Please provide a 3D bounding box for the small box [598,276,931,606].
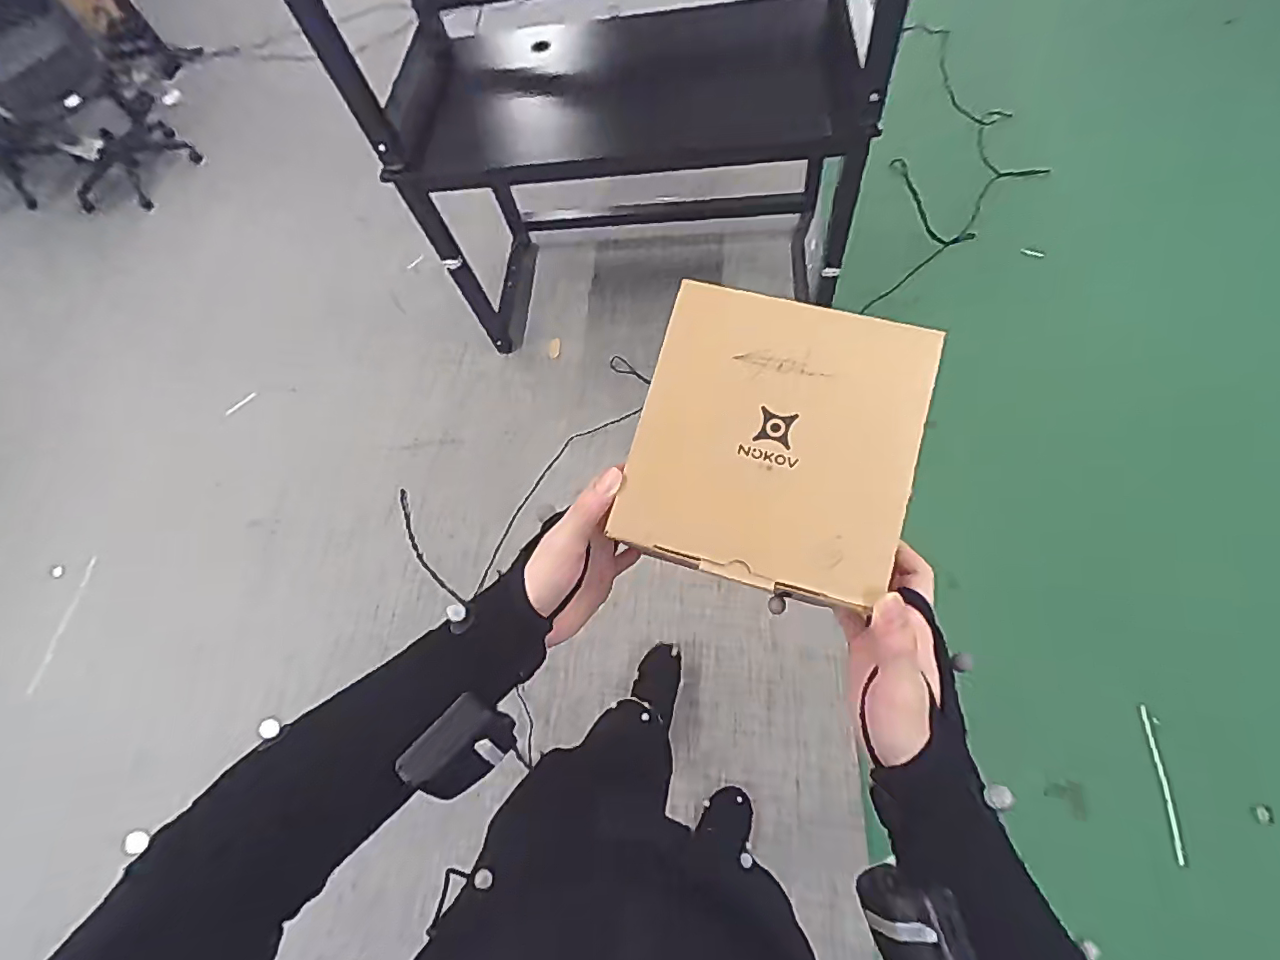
[{"bbox_3d":[0.085,-0.017,0.407,0.168,0.176,0.179,16,81,10],"label":"small box"}]
